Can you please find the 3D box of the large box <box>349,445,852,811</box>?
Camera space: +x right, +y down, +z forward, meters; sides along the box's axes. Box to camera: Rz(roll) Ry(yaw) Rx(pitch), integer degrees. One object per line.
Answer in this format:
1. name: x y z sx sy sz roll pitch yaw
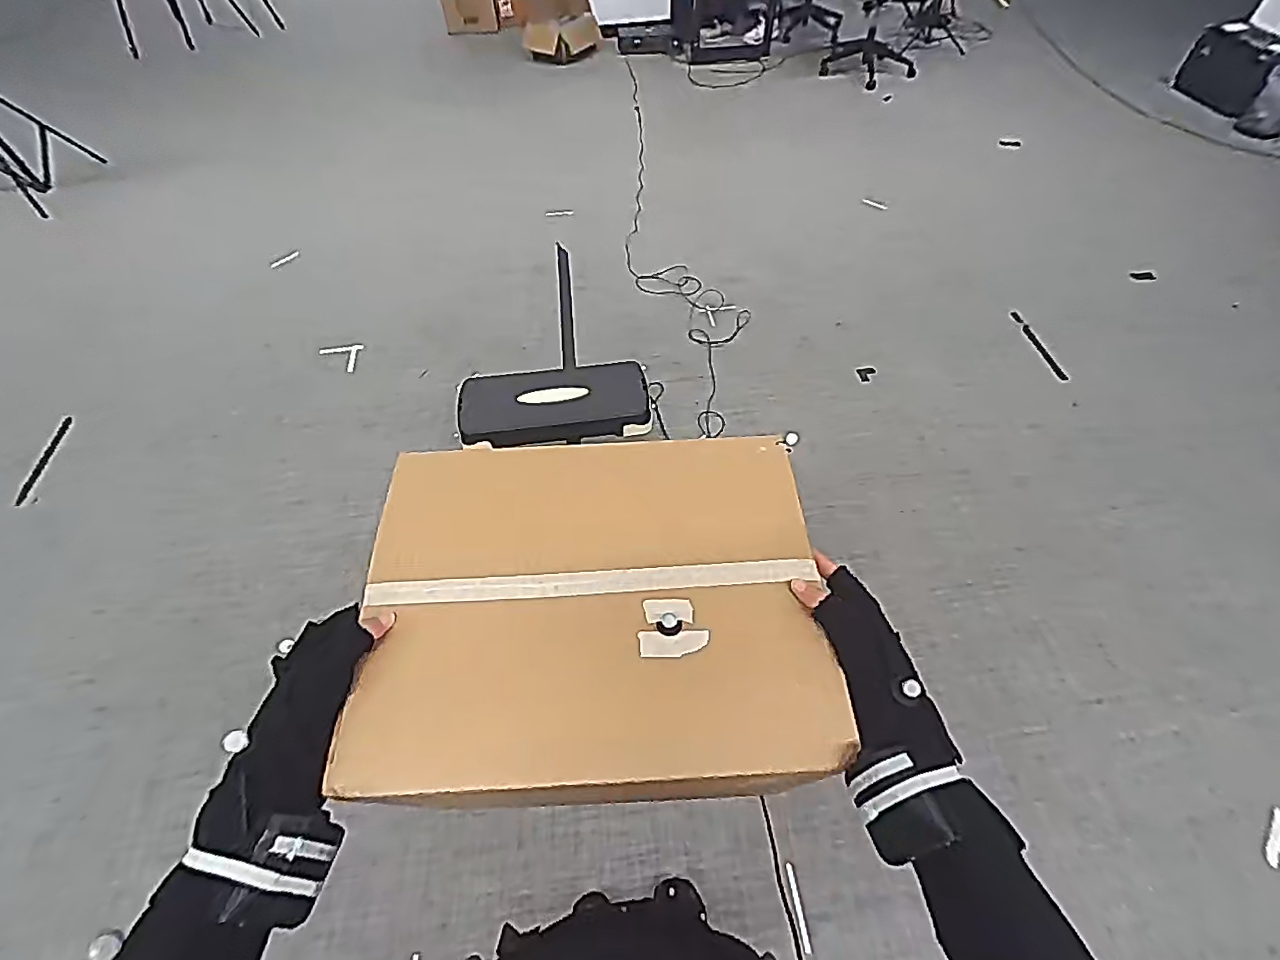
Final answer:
1. large box: -0.037 0.183 0.626 0.408 0.320 0.320 -3 57 -1
